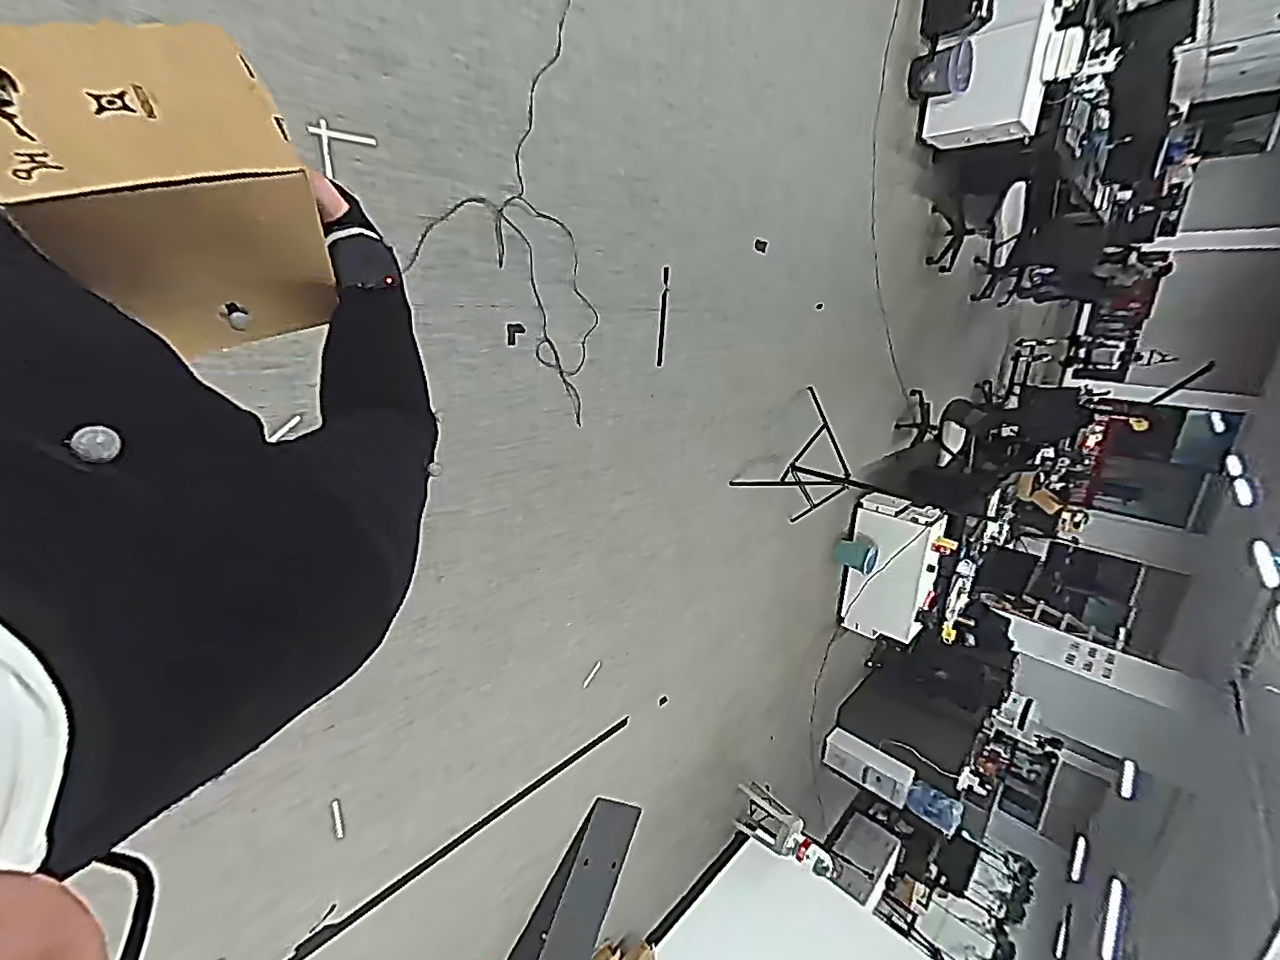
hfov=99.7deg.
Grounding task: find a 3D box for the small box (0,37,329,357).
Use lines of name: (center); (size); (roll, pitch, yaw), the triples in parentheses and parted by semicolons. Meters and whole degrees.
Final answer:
small box: (-0.394, -0.236, 0.468); (0.179, 0.168, 0.176); (-26, 165, -29)
